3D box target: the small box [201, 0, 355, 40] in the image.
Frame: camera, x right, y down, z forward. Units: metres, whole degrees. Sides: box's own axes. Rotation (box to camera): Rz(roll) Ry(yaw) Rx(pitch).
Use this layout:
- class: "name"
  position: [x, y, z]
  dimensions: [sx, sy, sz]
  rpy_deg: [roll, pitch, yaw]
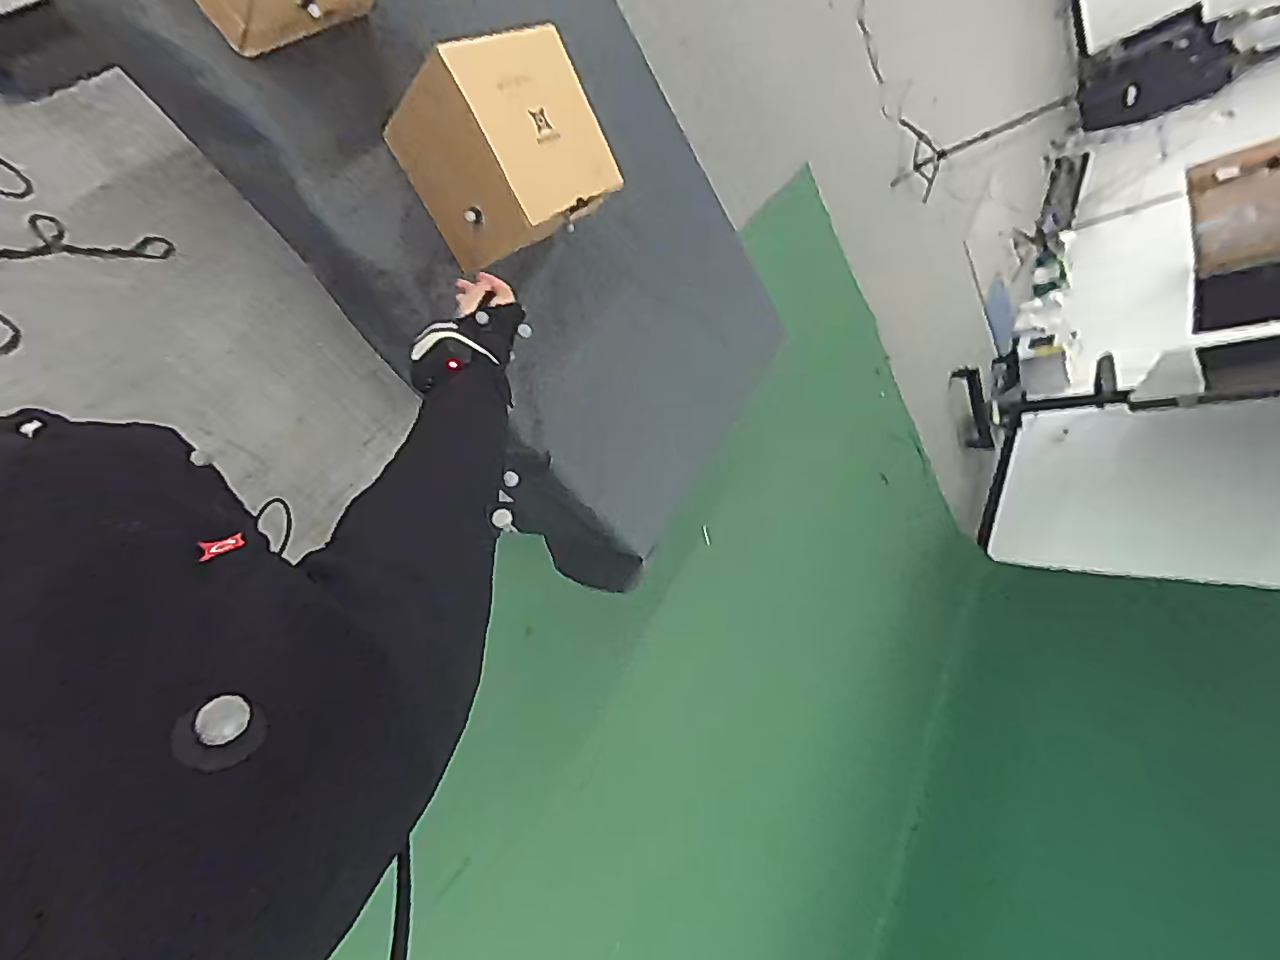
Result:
- class: "small box"
  position: [-0.347, -0.546, 0.471]
  dimensions: [0.179, 0.176, 0.168]
  rpy_deg: [53, 56, -28]

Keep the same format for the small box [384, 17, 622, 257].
- class: "small box"
  position: [-0.160, -0.385, 0.635]
  dimensions: [0.168, 0.176, 0.179]
  rpy_deg: [-45, 117, -34]
